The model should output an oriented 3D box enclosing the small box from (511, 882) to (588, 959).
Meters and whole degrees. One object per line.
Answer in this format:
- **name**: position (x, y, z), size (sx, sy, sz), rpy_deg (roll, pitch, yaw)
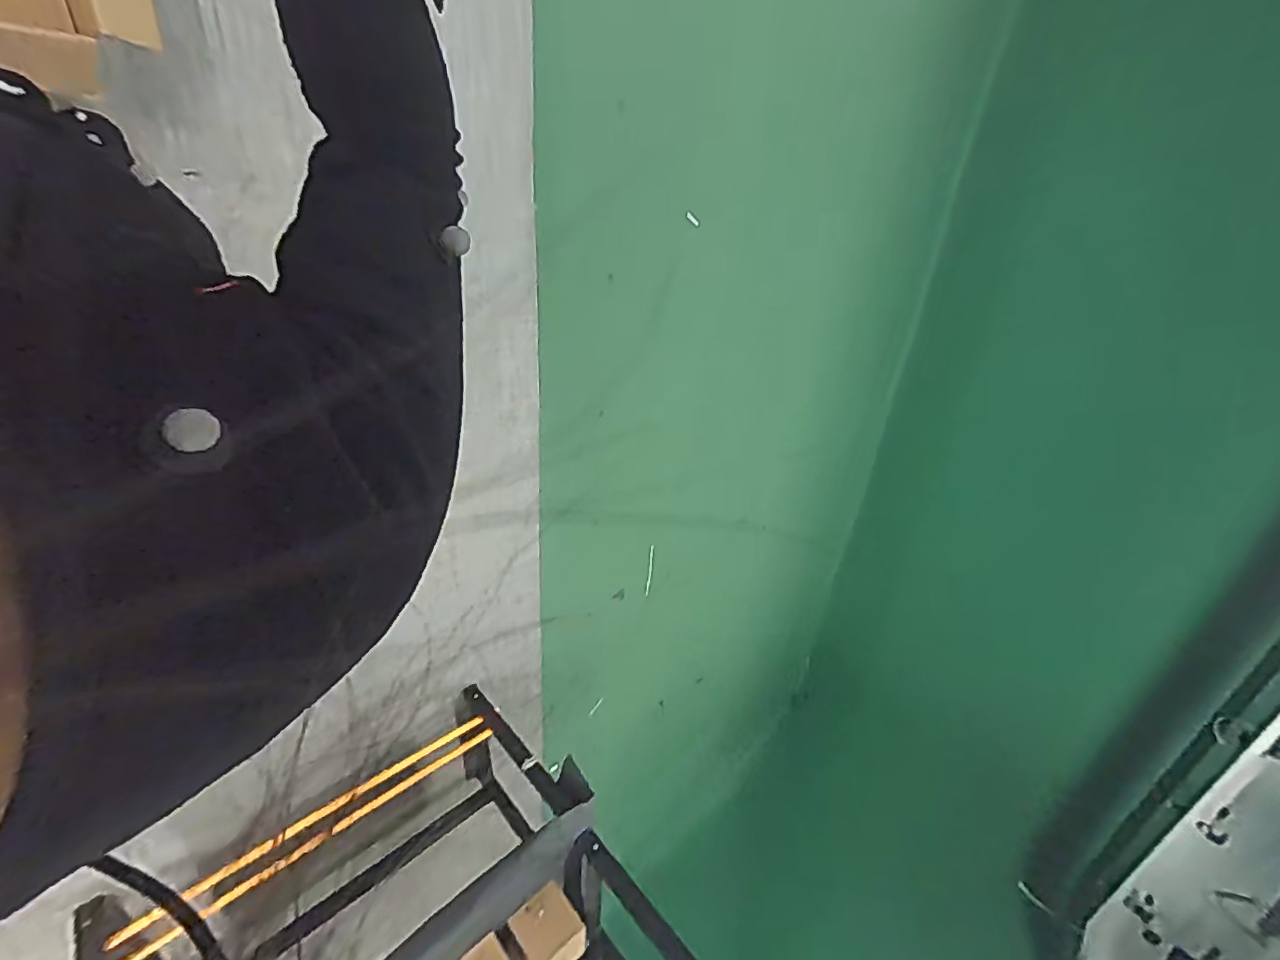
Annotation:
- **small box**: position (-0.276, 1.376, 1.635), size (0.168, 0.176, 0.179), rpy_deg (-22, 128, -38)
